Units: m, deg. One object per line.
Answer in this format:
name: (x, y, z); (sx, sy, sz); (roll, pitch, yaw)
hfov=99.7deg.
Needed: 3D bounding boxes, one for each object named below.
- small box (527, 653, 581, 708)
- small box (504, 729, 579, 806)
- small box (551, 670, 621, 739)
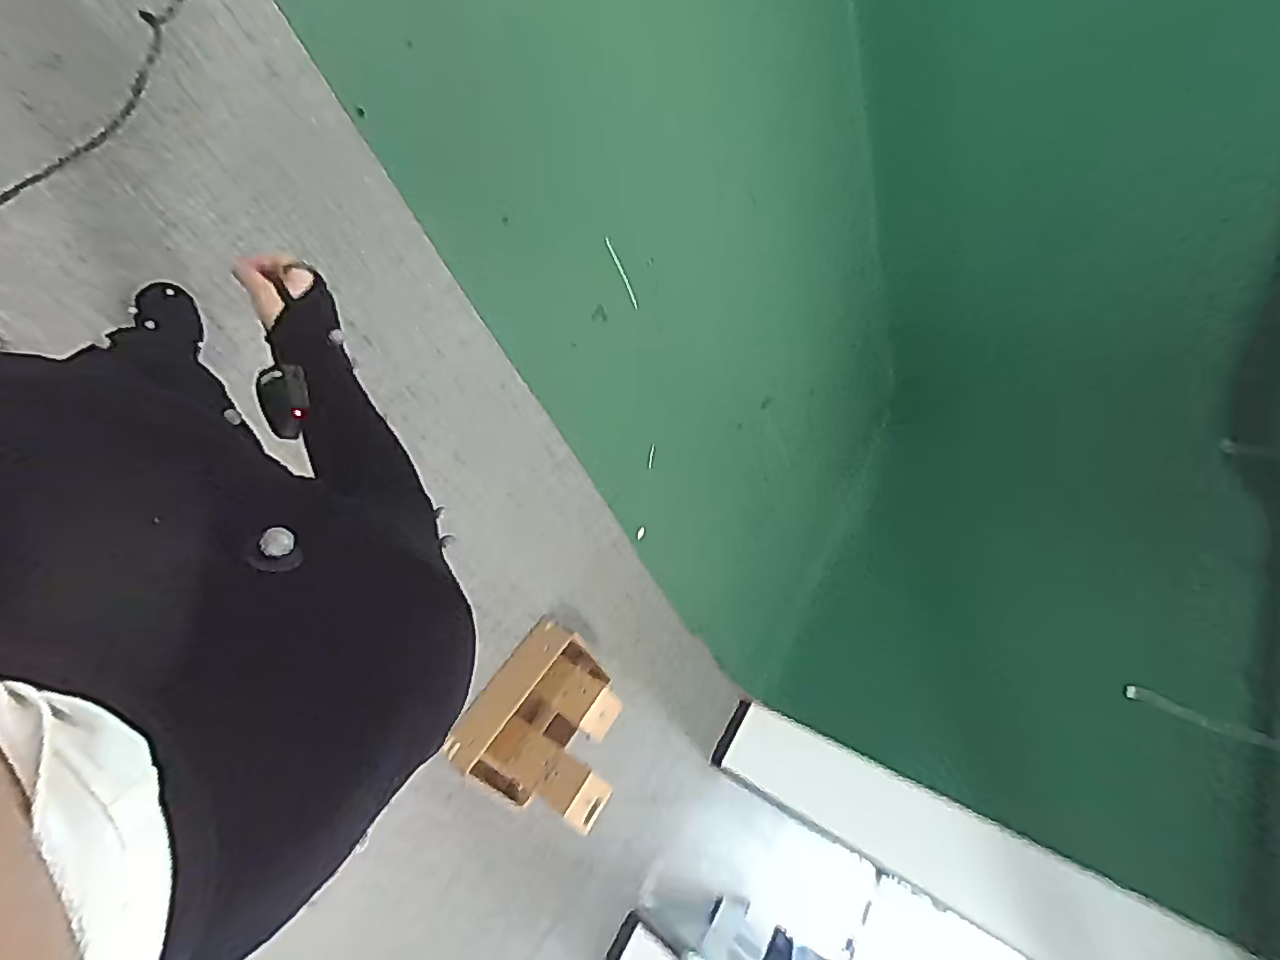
small box: (-0.328, 0.833, 2.209); (0.168, 0.176, 0.179); (-51, 133, -26)
small box: (-0.362, 1.049, 1.984); (0.168, 0.176, 0.179); (-53, 135, -28)
small box: (-0.213, 0.865, 2.102); (0.168, 0.176, 0.179); (-52, 134, -25)
